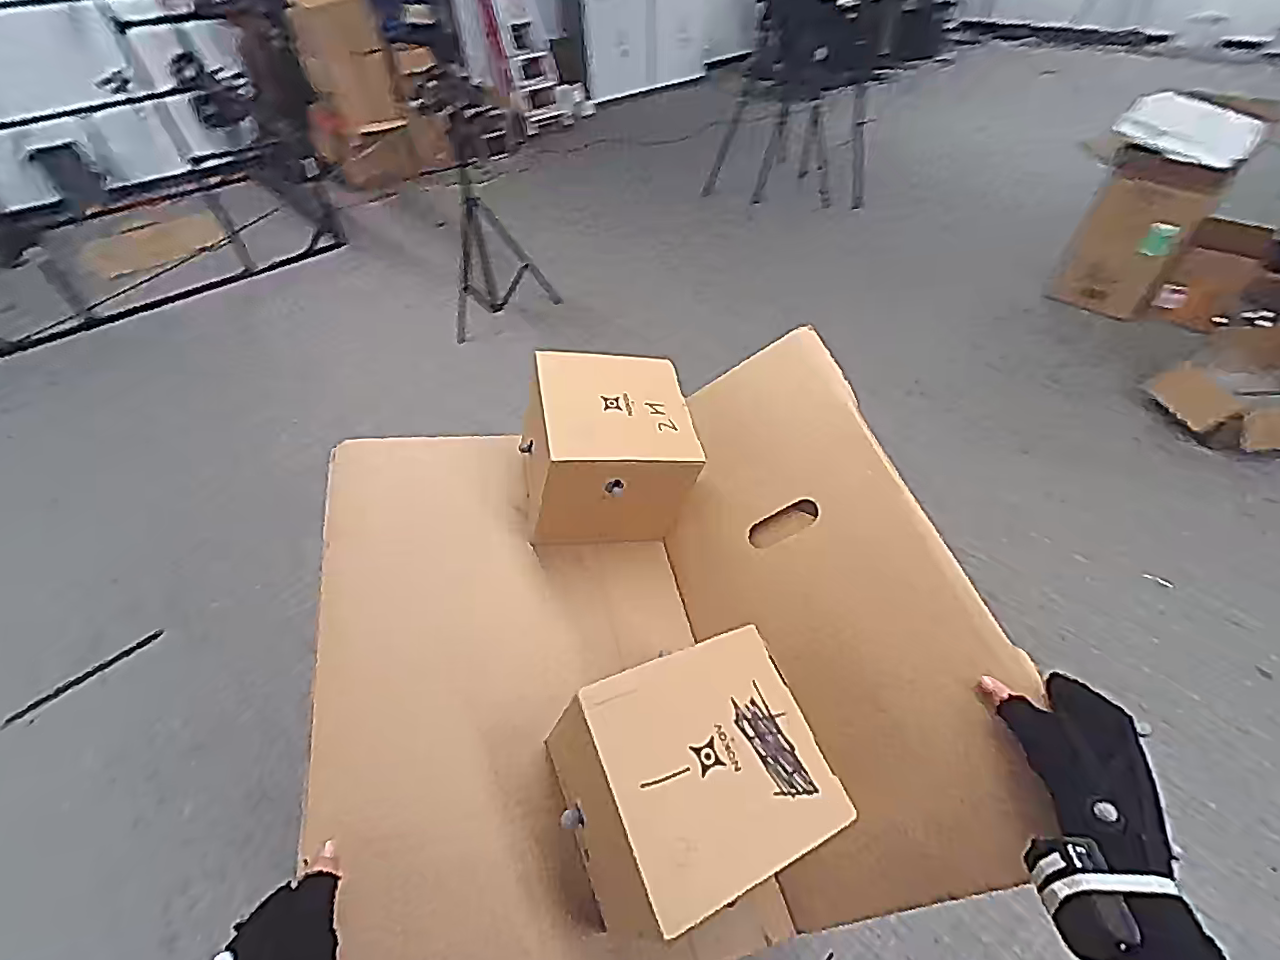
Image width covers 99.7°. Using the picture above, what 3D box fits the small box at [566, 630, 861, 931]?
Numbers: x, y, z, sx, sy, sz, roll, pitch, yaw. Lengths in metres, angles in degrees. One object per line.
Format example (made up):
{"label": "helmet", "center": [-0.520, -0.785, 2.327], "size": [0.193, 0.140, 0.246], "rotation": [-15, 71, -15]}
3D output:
{"label": "small box", "center": [0.048, 0.261, 0.486], "size": [0.179, 0.176, 0.168], "rotation": [-11, 58, -25]}
